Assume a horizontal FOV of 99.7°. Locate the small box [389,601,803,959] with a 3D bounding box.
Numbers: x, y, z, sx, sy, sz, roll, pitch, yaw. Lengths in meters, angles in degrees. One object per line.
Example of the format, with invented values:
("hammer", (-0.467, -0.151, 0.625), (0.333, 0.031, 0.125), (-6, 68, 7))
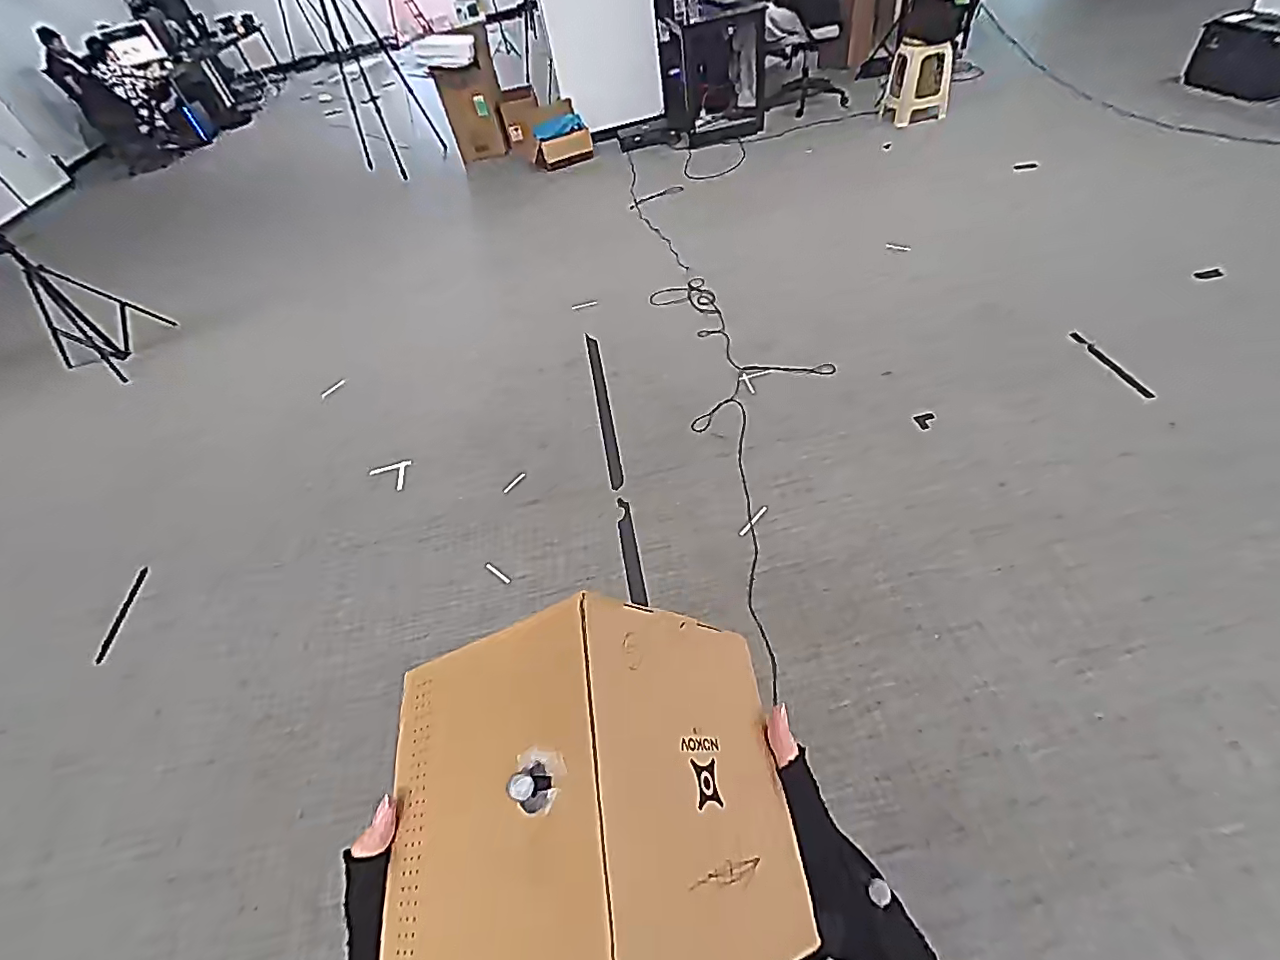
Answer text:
("small box", (-0.031, 0.199, 0.336), (0.176, 0.168, 0.179), (-30, 52, 29))
